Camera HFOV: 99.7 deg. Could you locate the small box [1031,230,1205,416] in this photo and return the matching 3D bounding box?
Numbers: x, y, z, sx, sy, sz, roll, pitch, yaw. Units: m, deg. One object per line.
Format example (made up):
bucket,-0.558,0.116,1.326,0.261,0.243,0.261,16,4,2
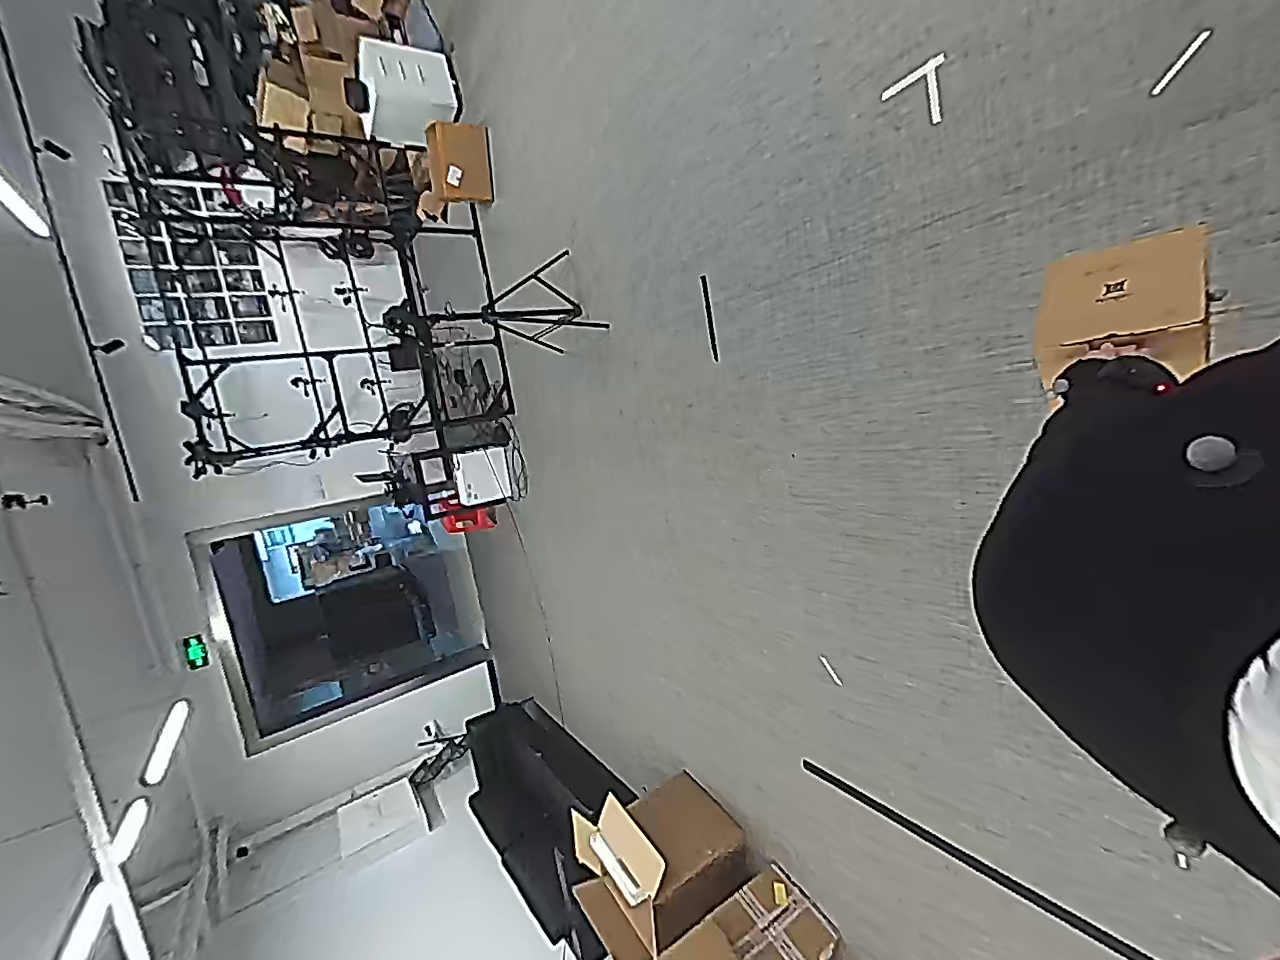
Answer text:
small box,0.675,-0.203,0.761,0.168,0.179,0.176,-1,144,46
